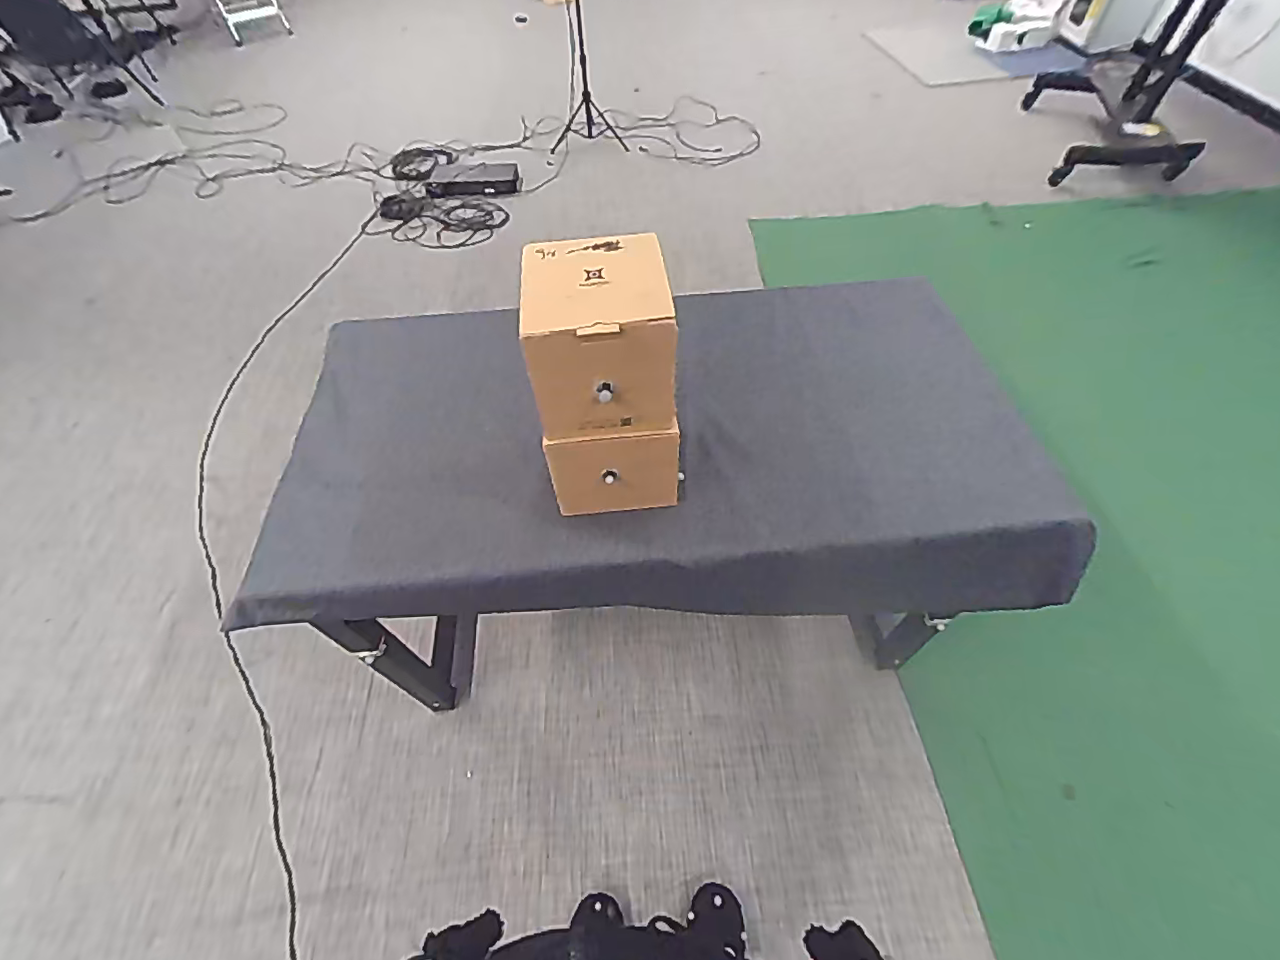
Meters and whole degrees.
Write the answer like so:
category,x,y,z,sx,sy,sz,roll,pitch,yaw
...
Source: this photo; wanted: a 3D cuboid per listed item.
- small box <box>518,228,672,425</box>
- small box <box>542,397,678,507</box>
category,x,y,z,sx,sy,sz,roll,pitch,yaw
small box,-0.050,-0.182,0.671,0.168,0.176,0.179,-6,55,-2
small box,-0.042,-0.075,0.796,0.179,0.176,0.168,-6,54,-1
